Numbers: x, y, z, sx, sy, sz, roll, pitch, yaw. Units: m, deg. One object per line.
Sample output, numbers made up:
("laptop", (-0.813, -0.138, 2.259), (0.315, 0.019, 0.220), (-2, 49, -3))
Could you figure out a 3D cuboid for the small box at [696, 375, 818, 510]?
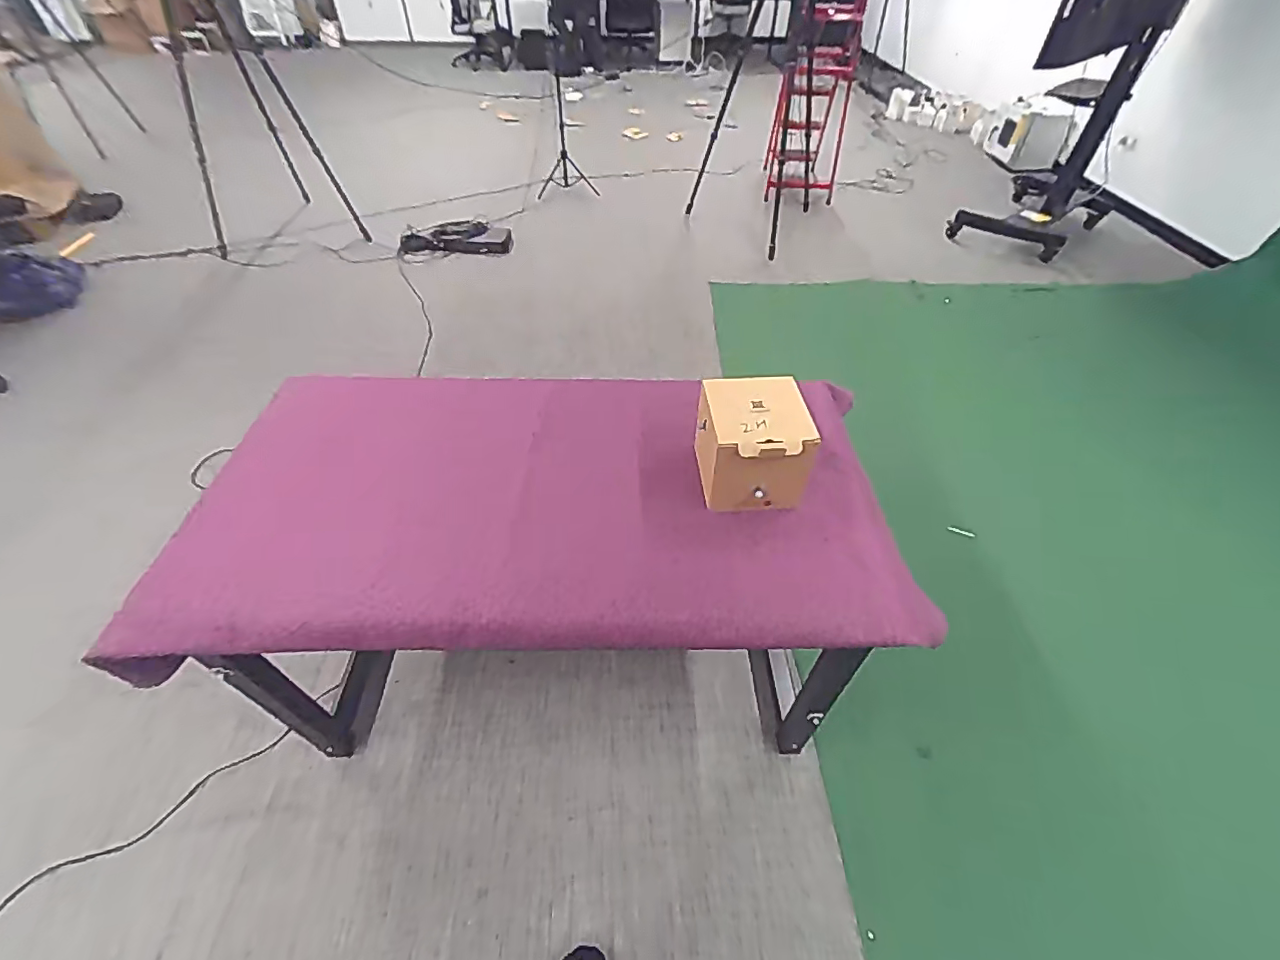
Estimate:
("small box", (0.195, -0.067, 0.963), (0.168, 0.176, 0.179), (-3, 48, -3))
